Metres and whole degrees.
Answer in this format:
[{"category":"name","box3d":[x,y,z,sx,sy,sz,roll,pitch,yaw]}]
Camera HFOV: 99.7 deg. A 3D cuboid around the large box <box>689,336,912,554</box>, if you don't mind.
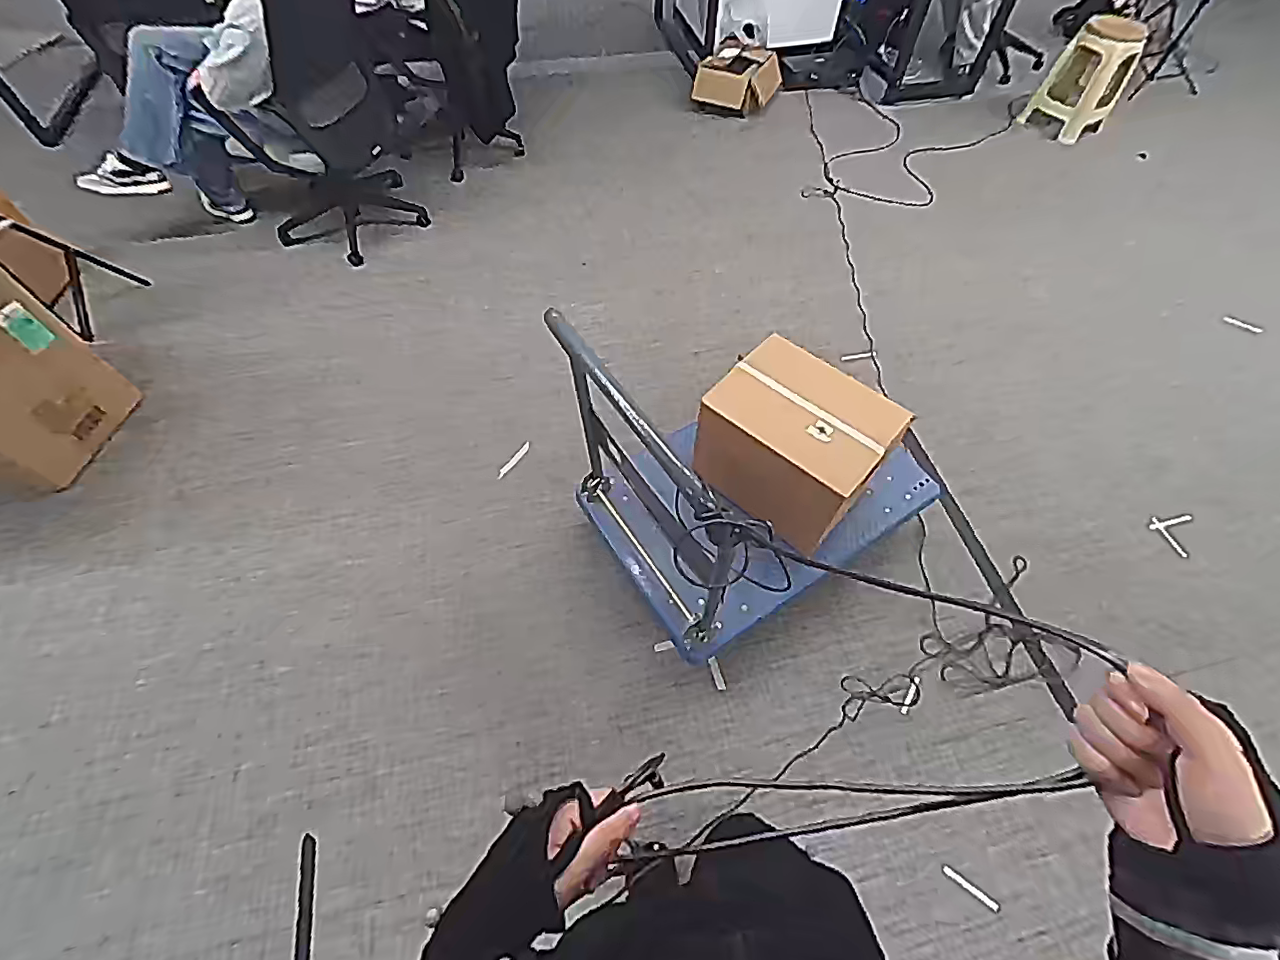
[{"category":"large box","box3d":[0.383,-0.089,1.389,0.408,0.320,0.320,38,66,20]}]
